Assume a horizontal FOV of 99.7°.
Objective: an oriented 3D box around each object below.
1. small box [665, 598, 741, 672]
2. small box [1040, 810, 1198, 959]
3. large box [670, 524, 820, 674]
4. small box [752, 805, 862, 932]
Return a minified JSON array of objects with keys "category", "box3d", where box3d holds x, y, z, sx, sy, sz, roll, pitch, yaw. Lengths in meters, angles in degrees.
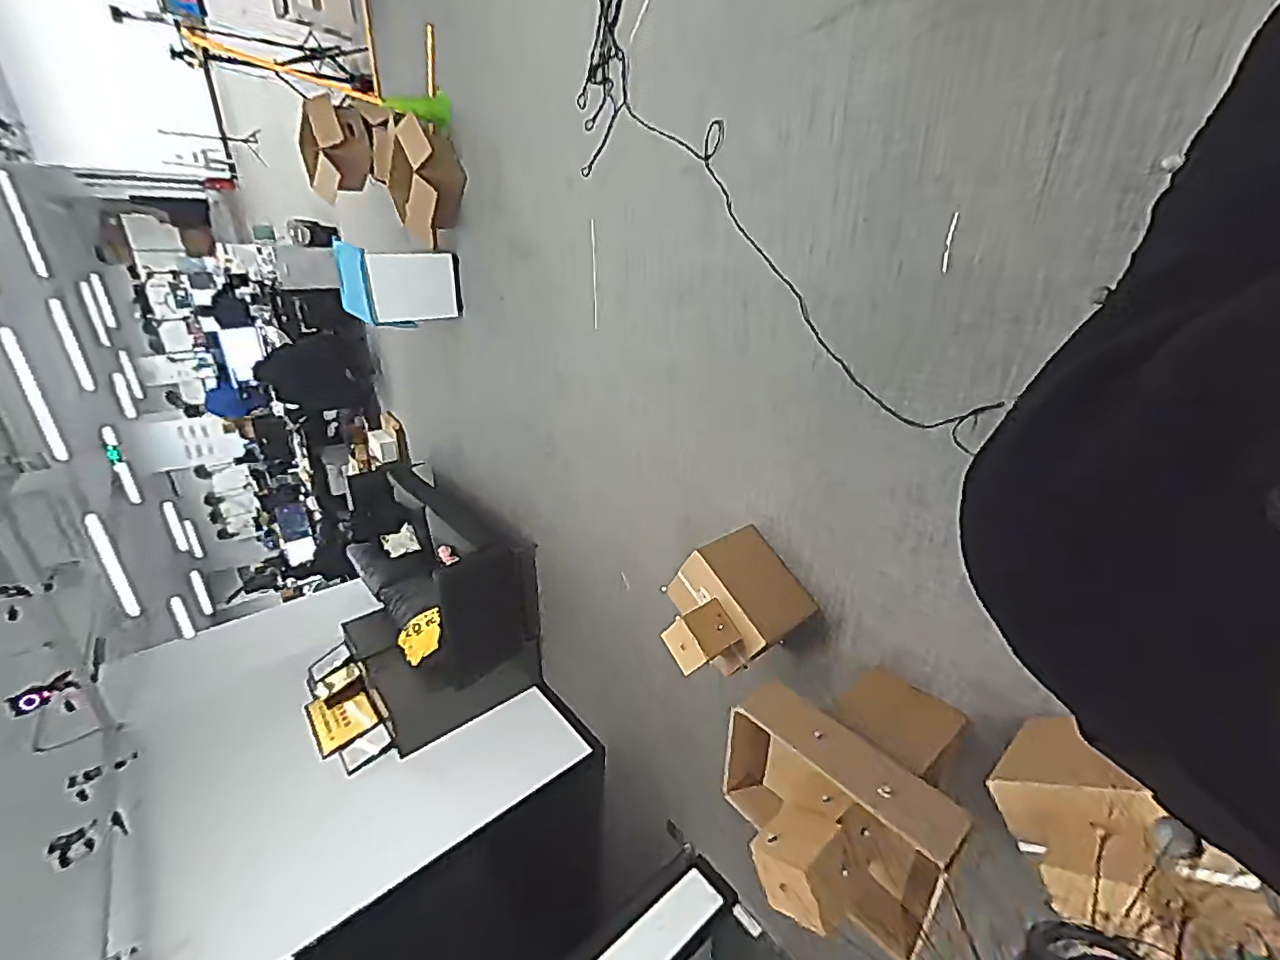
[{"category":"small box","box3d":[0.221,0.542,1.895,0.168,0.176,0.179,56,142,21]},{"category":"small box","box3d":[0.938,0.794,1.057,0.168,0.176,0.179,-30,80,53]},{"category":"large box","box3d":[0.388,0.441,2.046,0.408,0.320,0.320,54,141,25]},{"category":"small box","box3d":[0.418,0.954,1.351,0.179,0.176,0.168,-17,92,53]}]
